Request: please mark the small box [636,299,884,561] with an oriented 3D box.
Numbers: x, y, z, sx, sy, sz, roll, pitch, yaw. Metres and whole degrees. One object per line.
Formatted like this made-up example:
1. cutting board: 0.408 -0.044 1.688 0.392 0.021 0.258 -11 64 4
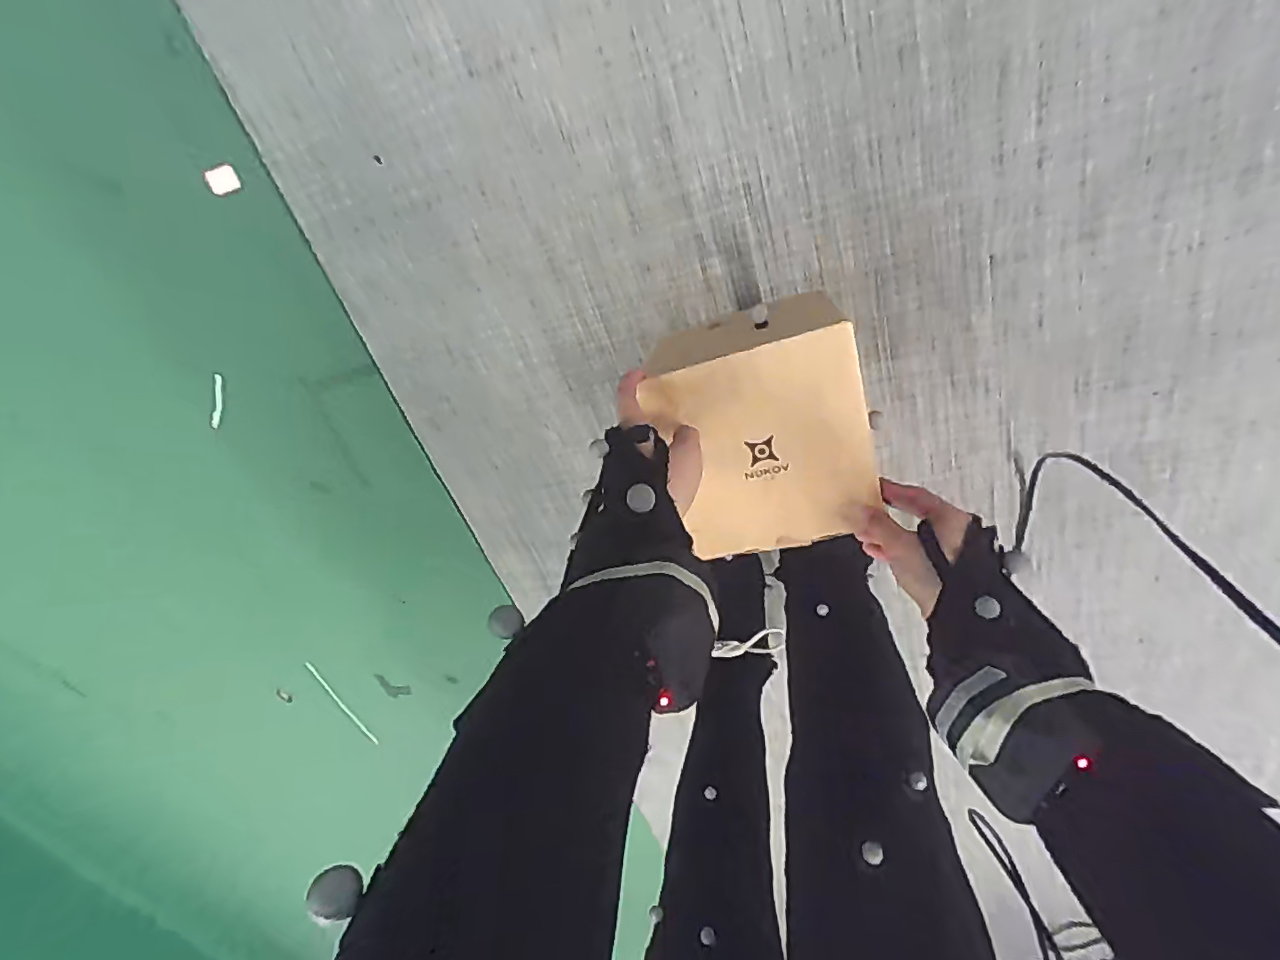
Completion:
1. small box: 0.107 -0.056 0.499 0.168 0.176 0.179 -14 114 16
